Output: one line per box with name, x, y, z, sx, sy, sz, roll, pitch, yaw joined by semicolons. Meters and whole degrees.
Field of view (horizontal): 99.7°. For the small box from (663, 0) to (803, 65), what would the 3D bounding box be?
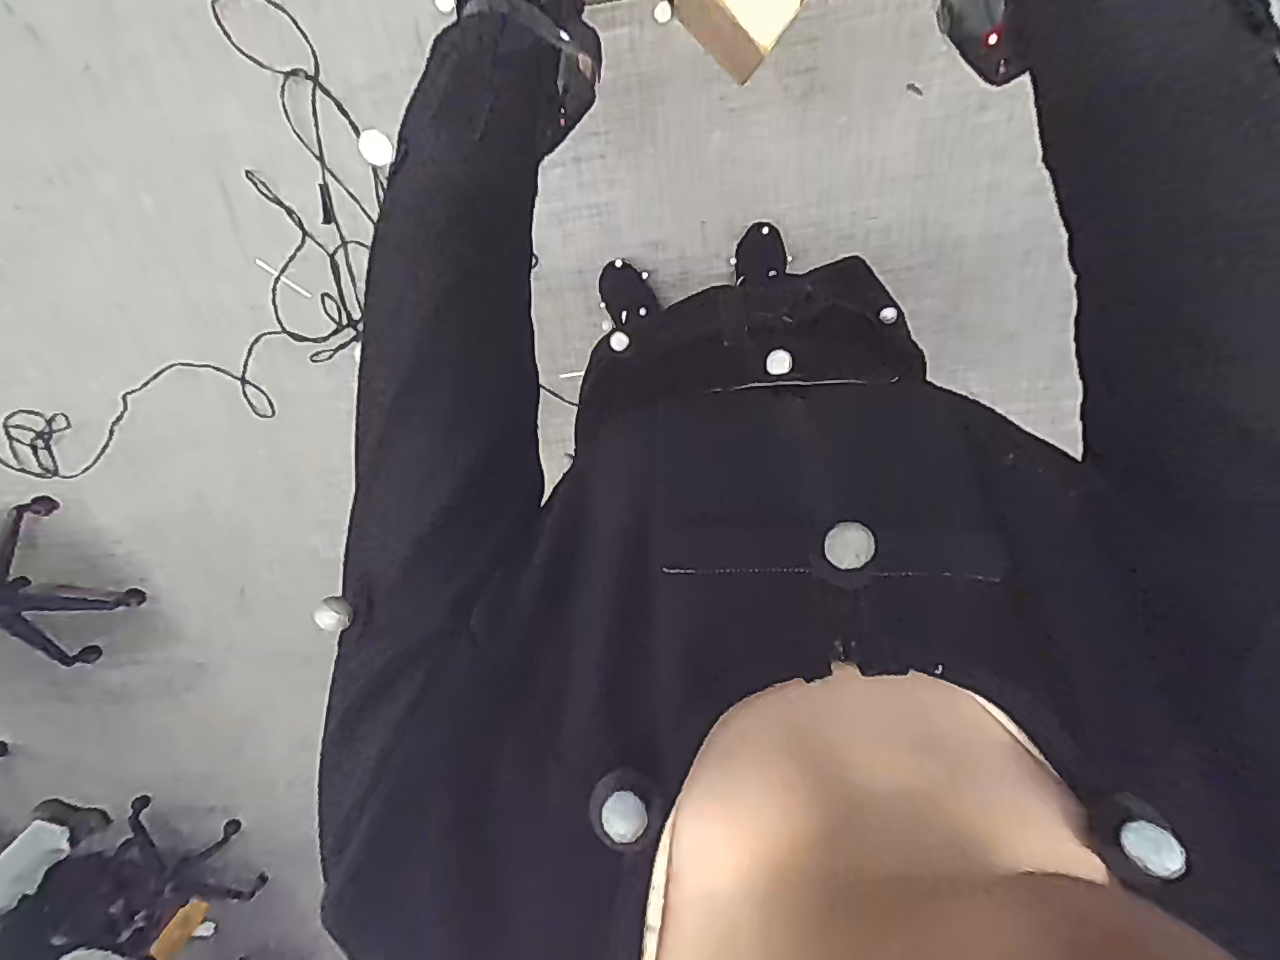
small box;0.073;-0.432;0.373;0.179;0.176;0.168;36;115;-15
